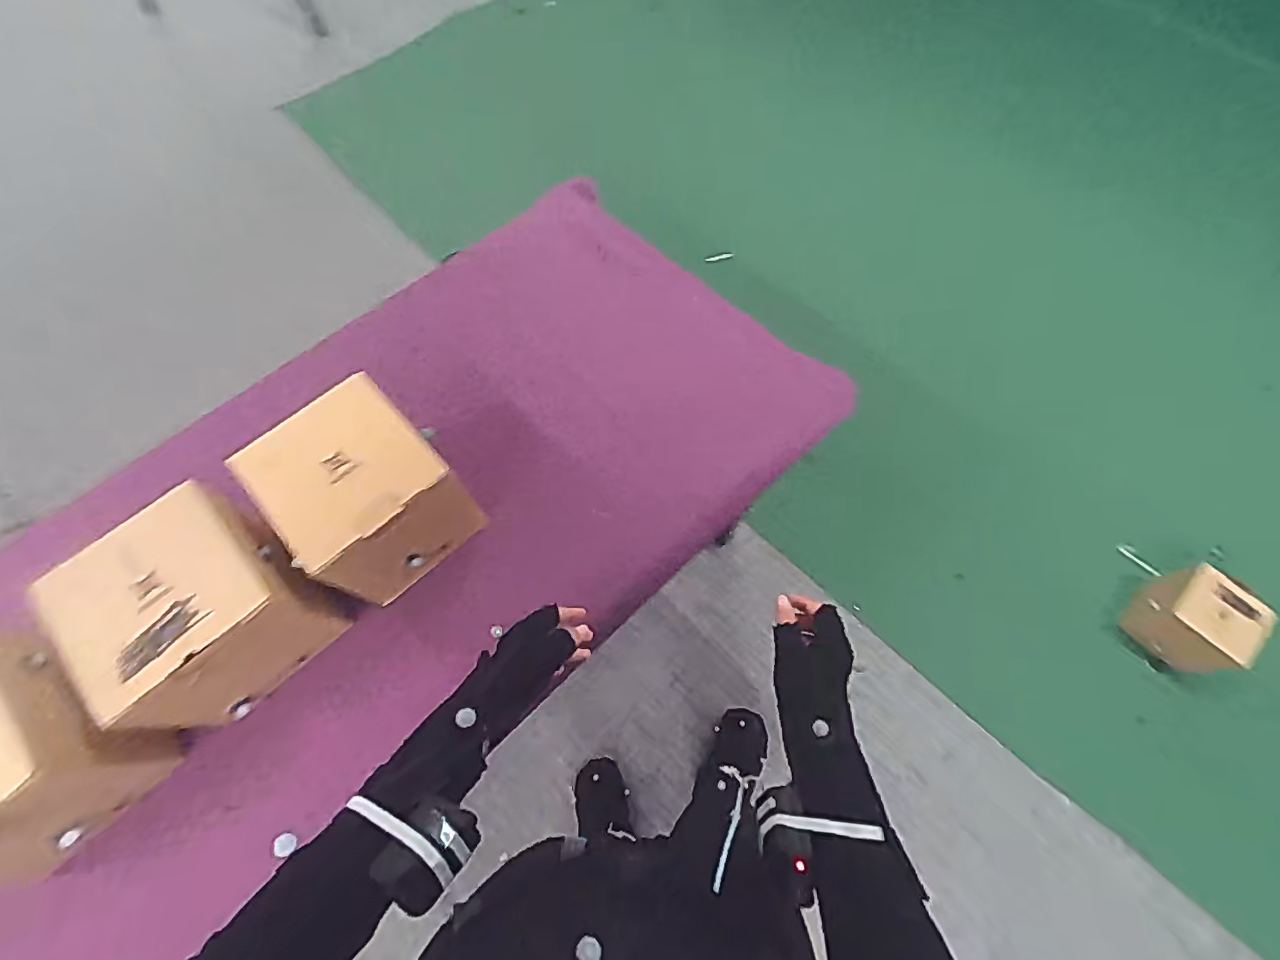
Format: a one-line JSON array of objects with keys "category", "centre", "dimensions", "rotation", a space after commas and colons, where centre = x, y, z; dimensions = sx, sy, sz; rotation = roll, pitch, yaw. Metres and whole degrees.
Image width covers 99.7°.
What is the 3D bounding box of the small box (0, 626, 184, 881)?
[{"category": "small box", "centre": [-0.624, 0.275, 0.538], "dimensions": [0.168, 0.176, 0.179], "rotation": [-42, 73, -16]}]
